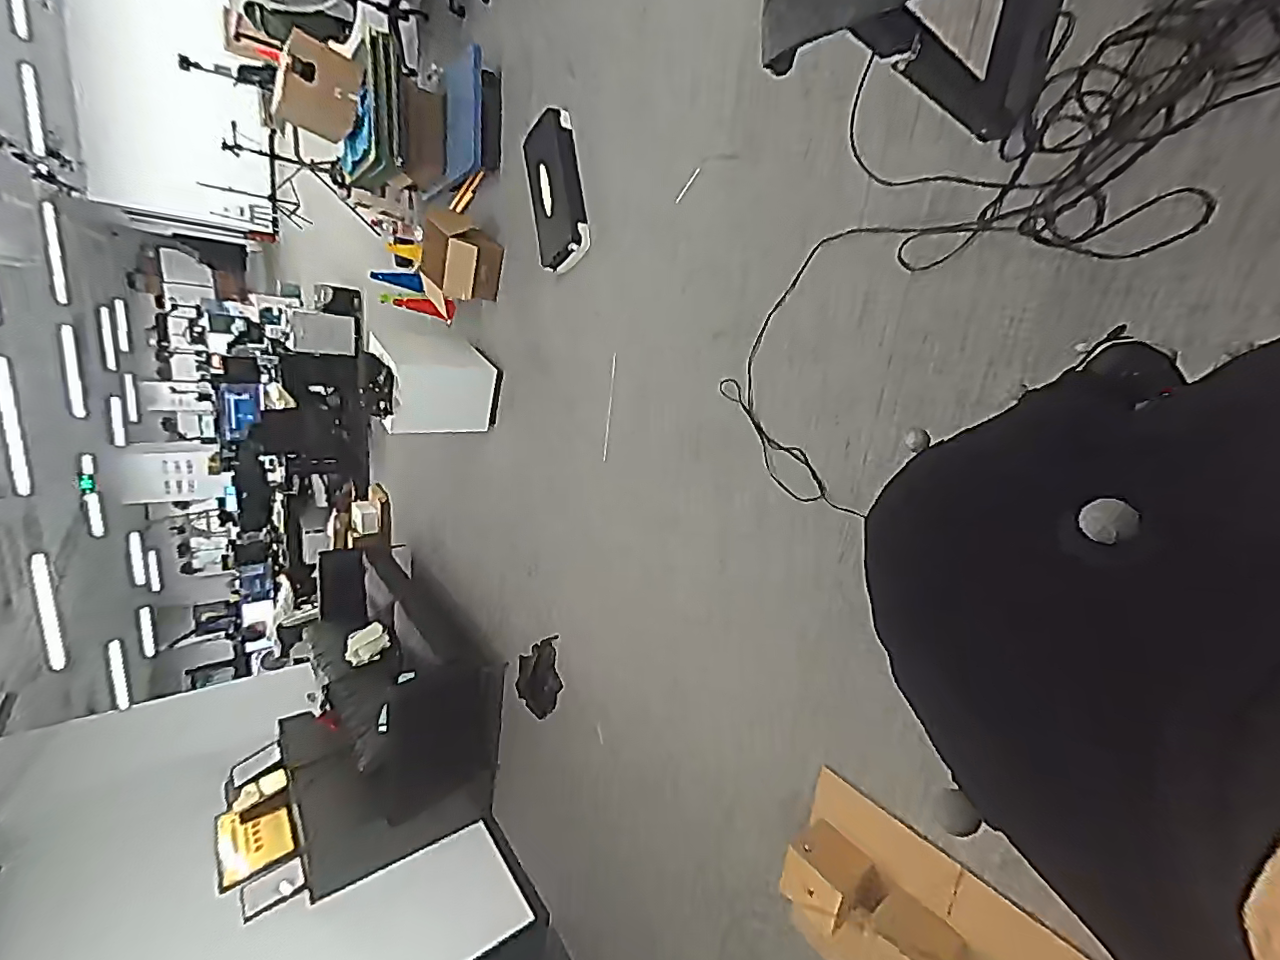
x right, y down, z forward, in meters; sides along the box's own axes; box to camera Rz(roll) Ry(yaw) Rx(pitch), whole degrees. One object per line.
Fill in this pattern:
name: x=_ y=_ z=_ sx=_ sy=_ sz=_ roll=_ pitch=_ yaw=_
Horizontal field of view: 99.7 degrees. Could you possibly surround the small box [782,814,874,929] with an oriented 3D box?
small box: x=0.544 y=1.115 z=1.558 sx=0.179 sy=0.176 sz=0.168 roll=24 pitch=114 yaw=48
